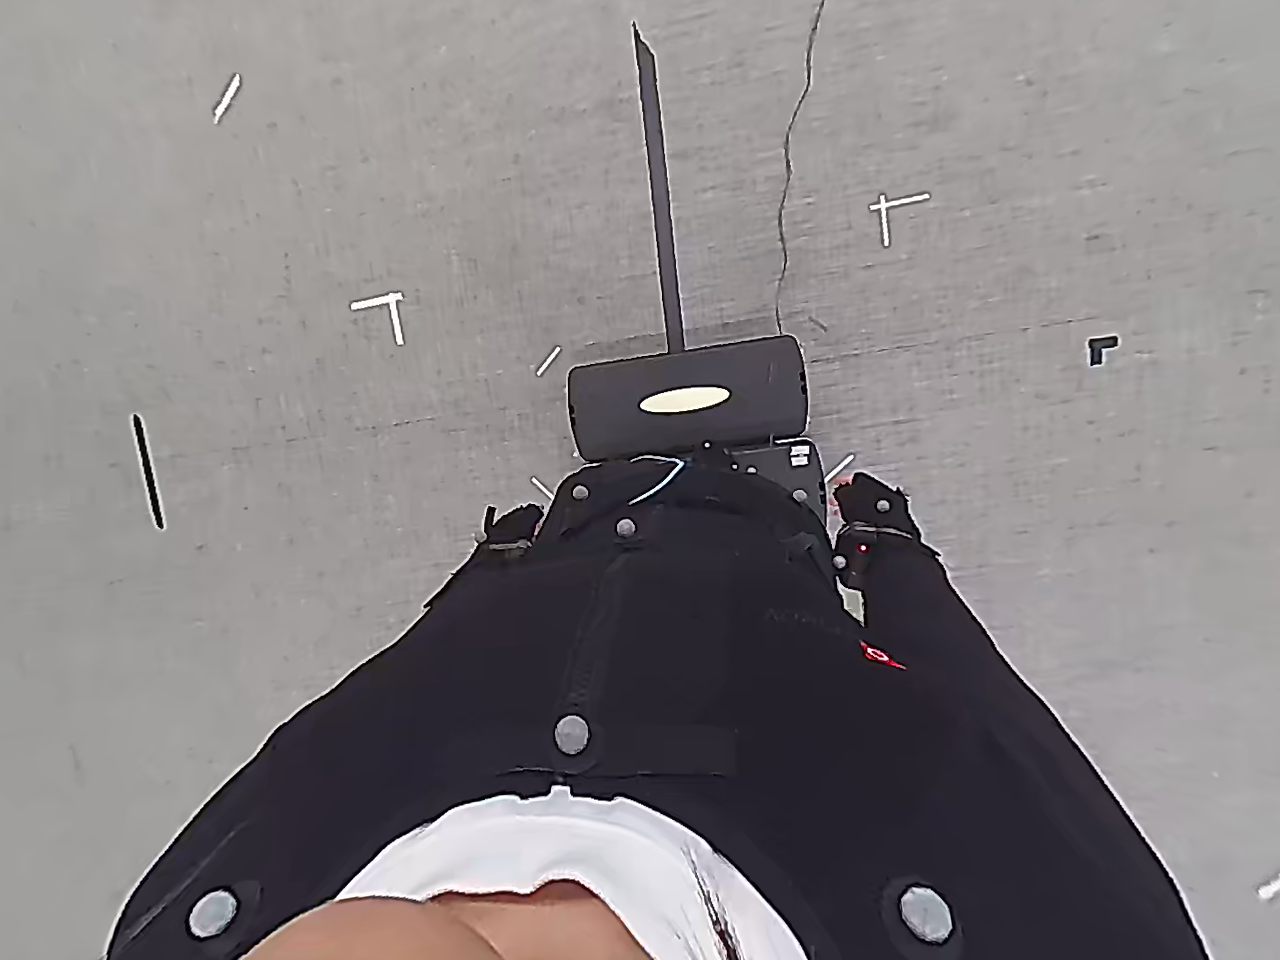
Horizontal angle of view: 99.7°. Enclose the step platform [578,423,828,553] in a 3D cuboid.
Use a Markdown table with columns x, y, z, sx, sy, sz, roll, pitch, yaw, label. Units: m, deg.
| x | y | z | sx | sy | sz | roll | pitch | yaw | label |
| --- | --- | --- | --- | --- | --- | --- | --- | --- | --- |
| 0.170 | 0.024 | 1.522 | 0.684 | 0.204 | 0.286 | -8 | 94 | 9 | step platform |
